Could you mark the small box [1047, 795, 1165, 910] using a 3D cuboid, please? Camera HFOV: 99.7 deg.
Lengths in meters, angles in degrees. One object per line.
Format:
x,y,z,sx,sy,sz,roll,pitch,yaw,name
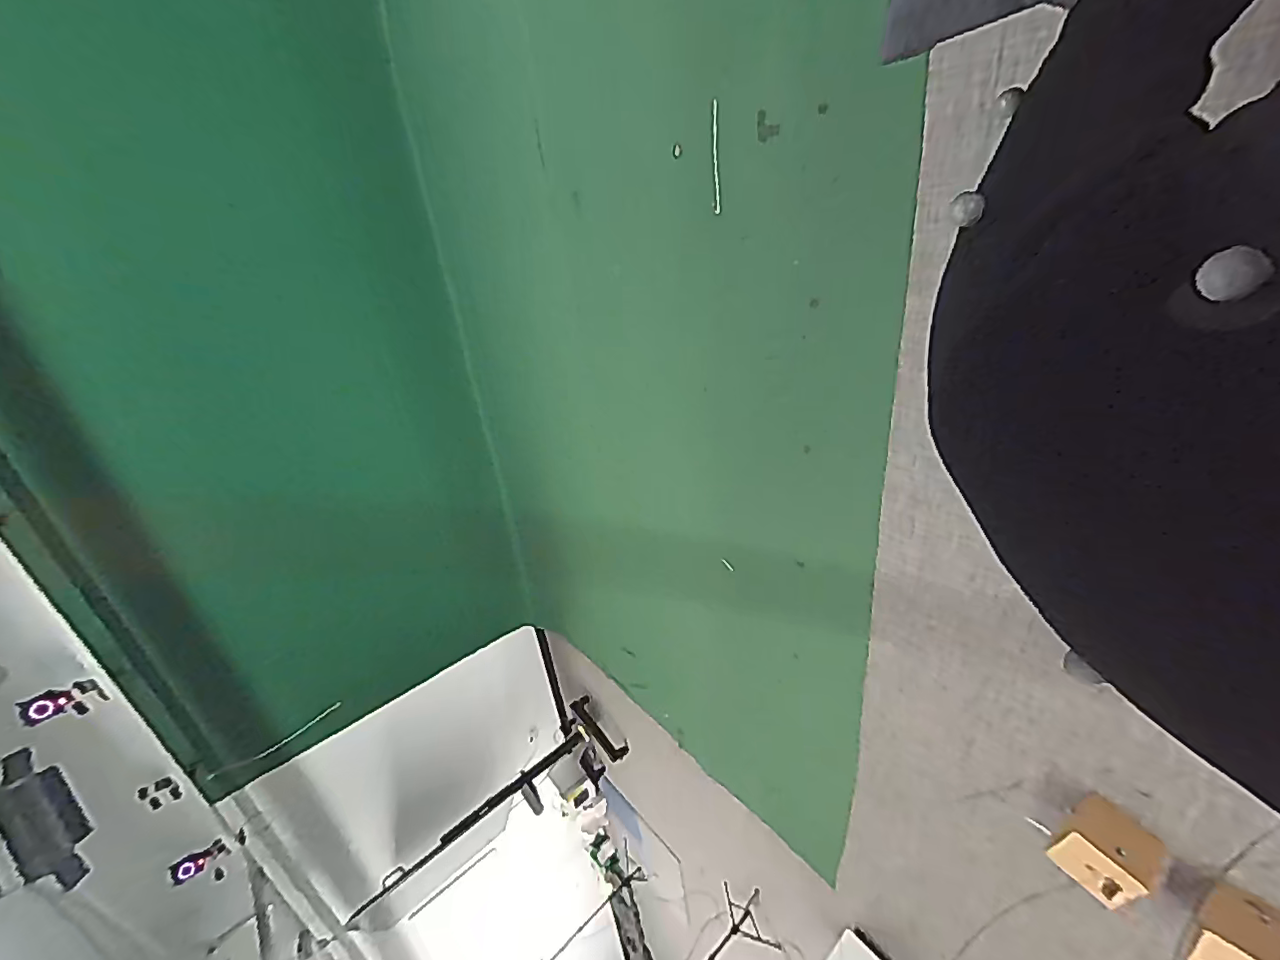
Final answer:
1.289,1.024,1.496,0.179,0.176,0.168,39,139,36,small box
